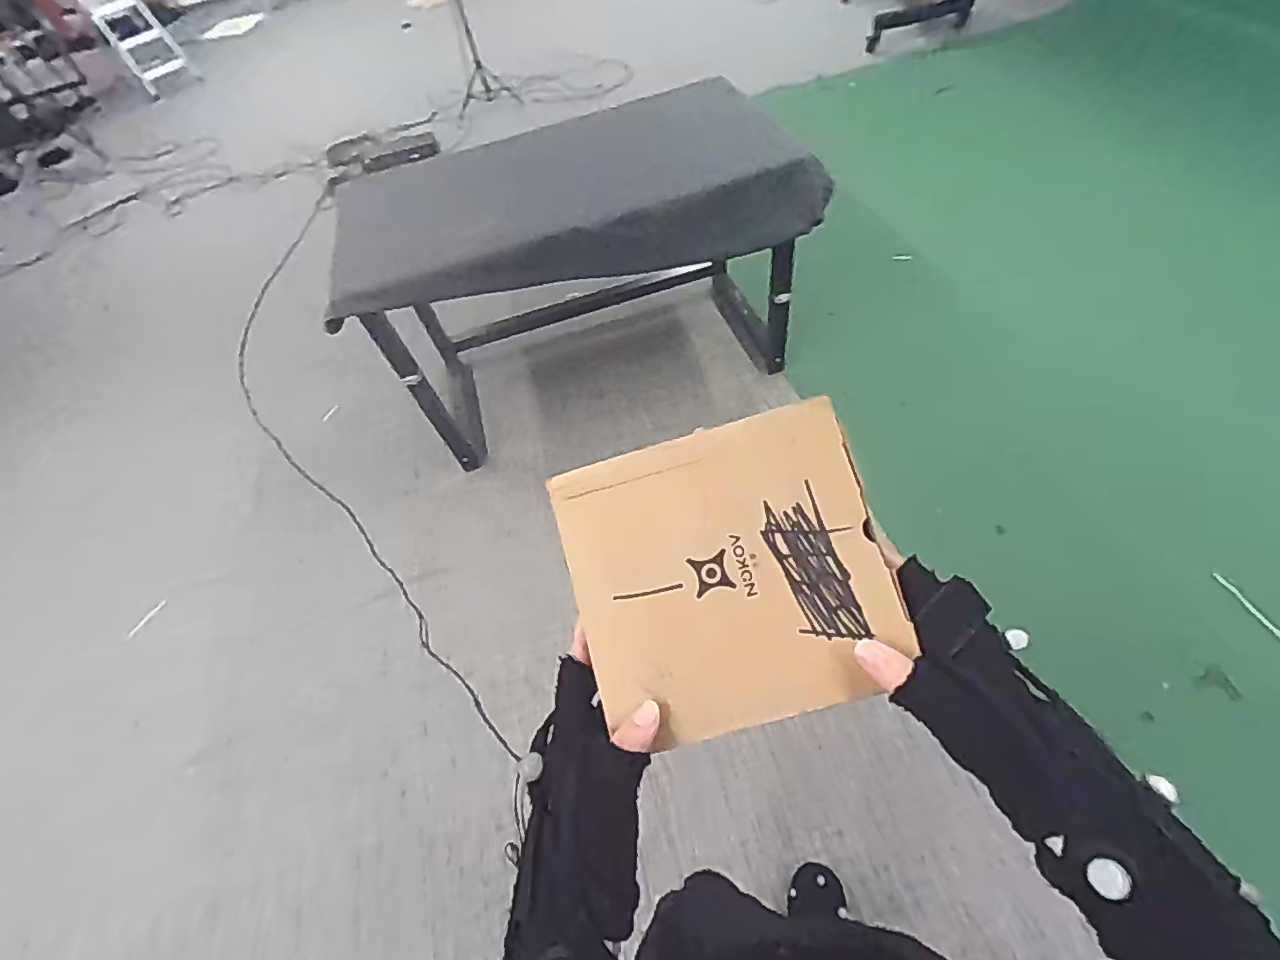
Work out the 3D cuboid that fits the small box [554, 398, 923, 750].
[{"bbox_3d":[0.057,0.063,0.386,0.179,0.176,0.168,-16,78,3],"label":"small box"}]
